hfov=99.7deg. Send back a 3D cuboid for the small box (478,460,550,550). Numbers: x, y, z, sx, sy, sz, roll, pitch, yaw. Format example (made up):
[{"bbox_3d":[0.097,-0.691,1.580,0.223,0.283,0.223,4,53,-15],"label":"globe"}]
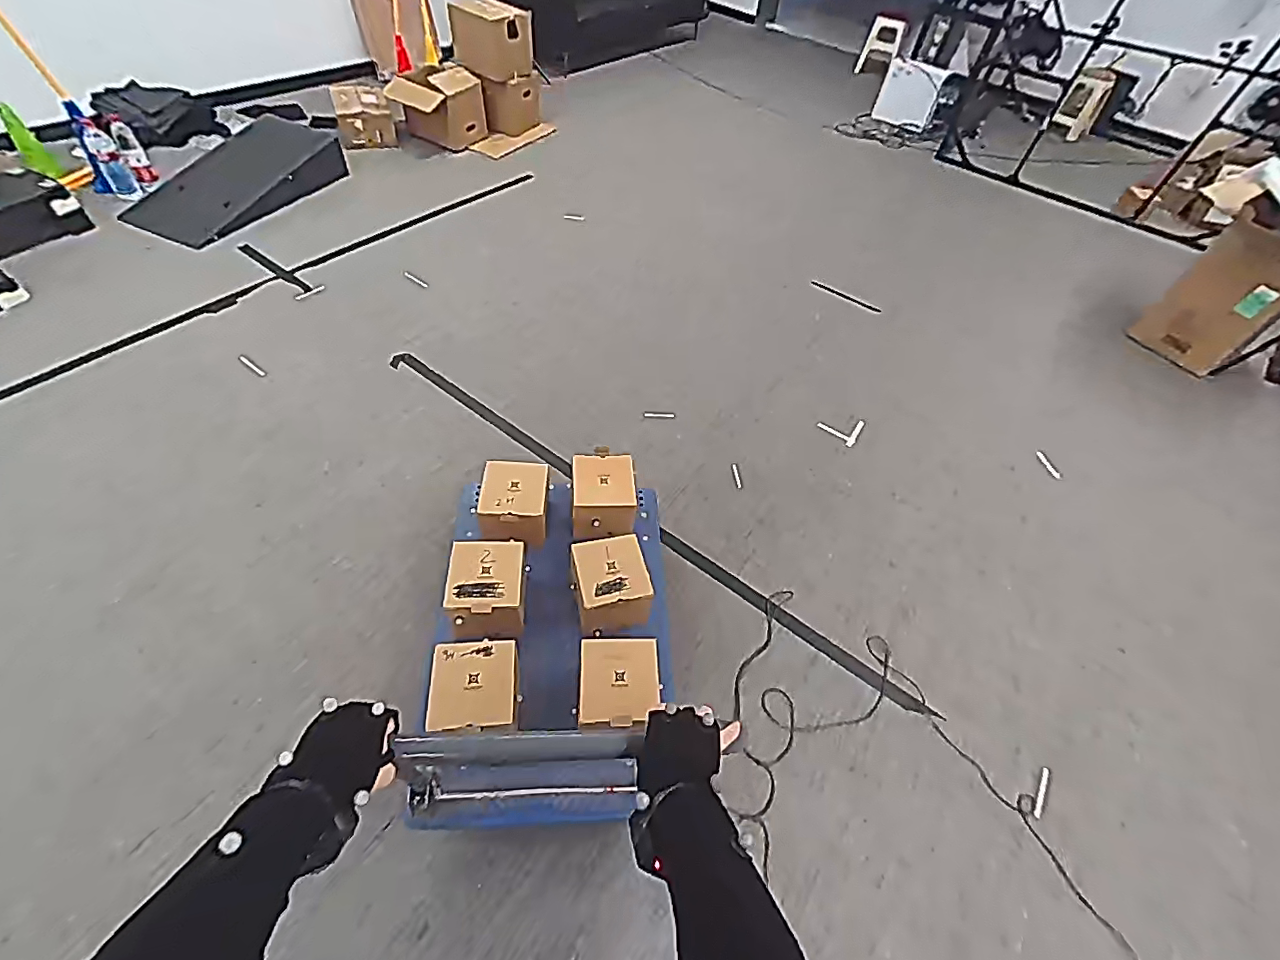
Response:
[{"bbox_3d":[-0.336,0.070,1.469,0.168,0.176,0.179,3,52,-6],"label":"small box"}]

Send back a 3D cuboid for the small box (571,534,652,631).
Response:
[{"bbox_3d":[-0.077,0.262,1.355,0.168,0.176,0.179,-8,52,-15],"label":"small box"}]

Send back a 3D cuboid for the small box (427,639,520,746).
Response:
[{"bbox_3d":[-0.345,0.458,1.154,0.168,0.176,0.179,0,52,-10],"label":"small box"}]

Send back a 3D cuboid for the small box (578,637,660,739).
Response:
[{"bbox_3d":[-0.050,0.464,1.196,0.168,0.176,0.179,2,50,-7],"label":"small box"}]

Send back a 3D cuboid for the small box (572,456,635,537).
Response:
[{"bbox_3d":[-0.108,0.050,1.523,0.168,0.176,0.179,-1,51,-9],"label":"small box"}]
